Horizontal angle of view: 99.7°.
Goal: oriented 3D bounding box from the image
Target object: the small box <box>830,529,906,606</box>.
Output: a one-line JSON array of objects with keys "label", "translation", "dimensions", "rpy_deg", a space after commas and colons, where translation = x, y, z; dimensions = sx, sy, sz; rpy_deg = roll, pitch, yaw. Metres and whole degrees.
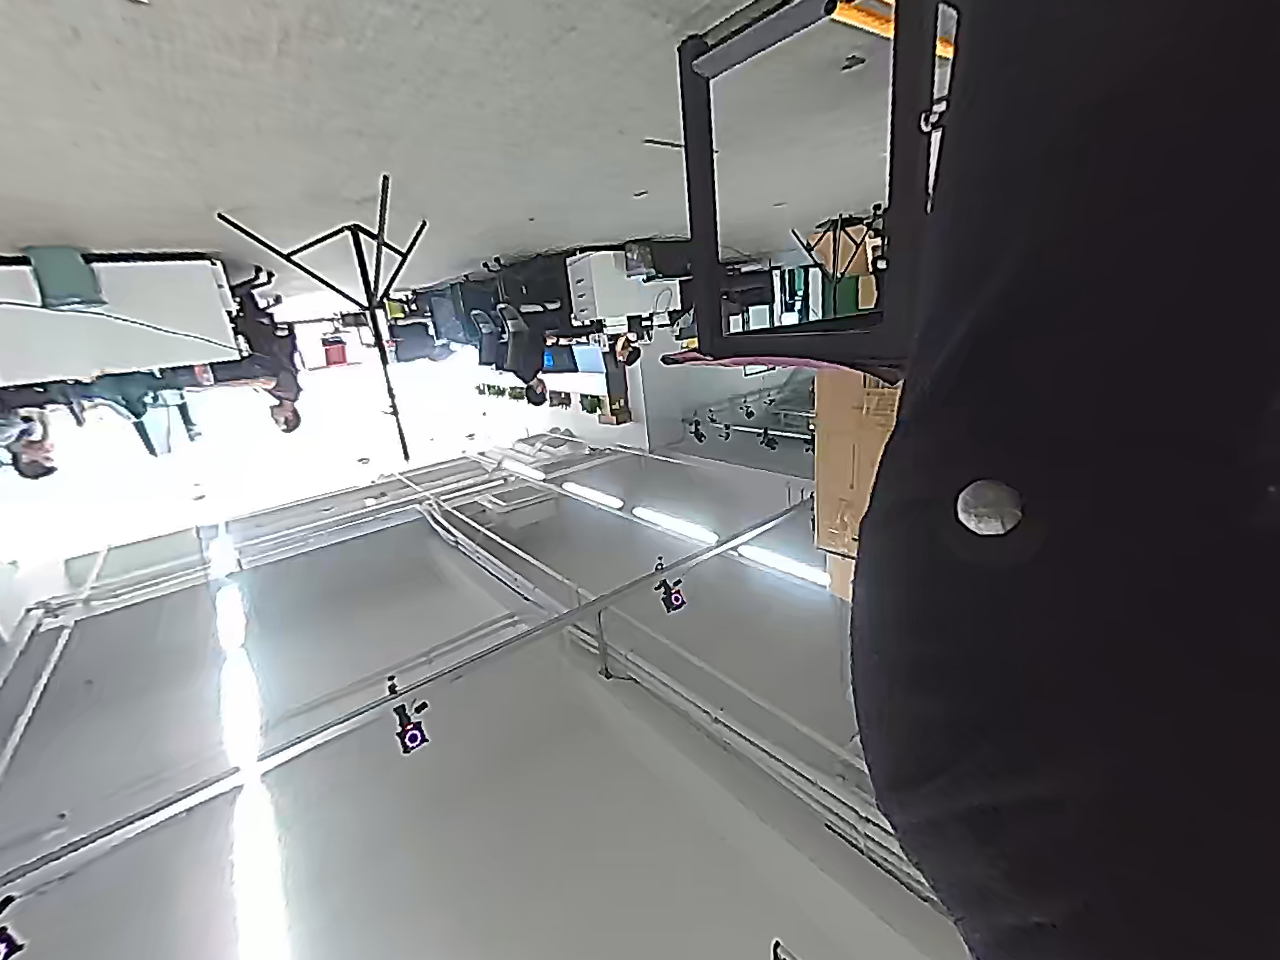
[{"label": "small box", "translation": [0.728, 0.272, 1.733], "dimensions": [0.179, 0.176, 0.168], "rpy_deg": [-19, -158, -30]}]
